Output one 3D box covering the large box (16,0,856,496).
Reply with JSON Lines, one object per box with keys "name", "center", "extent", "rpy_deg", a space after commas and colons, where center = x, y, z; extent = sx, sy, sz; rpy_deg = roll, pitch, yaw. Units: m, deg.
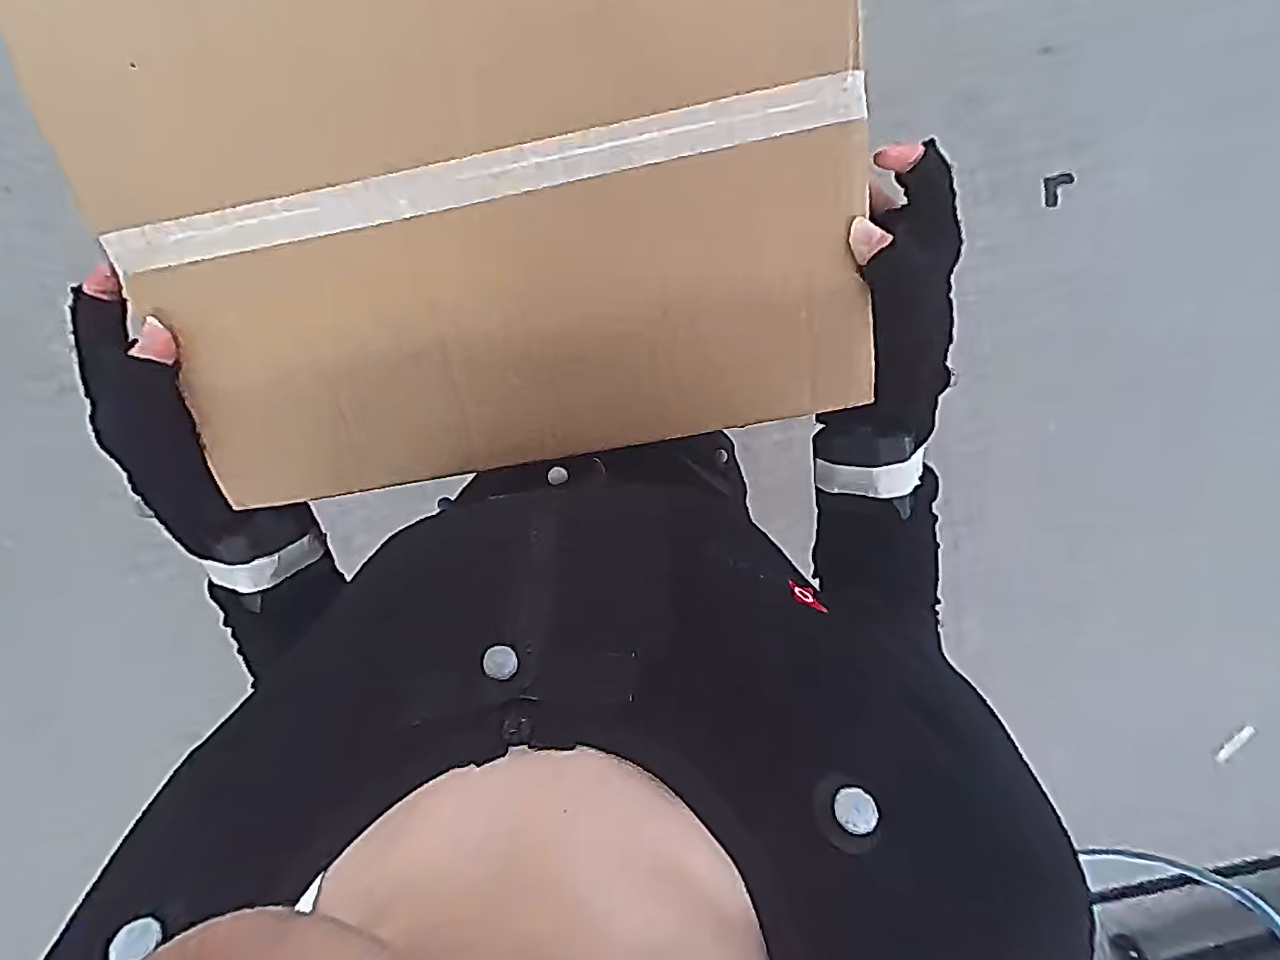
{"name": "large box", "center": [-0.088, -0.216, 0.430], "extent": [0.408, 0.320, 0.320], "rpy_deg": [-9, 109, 4]}
